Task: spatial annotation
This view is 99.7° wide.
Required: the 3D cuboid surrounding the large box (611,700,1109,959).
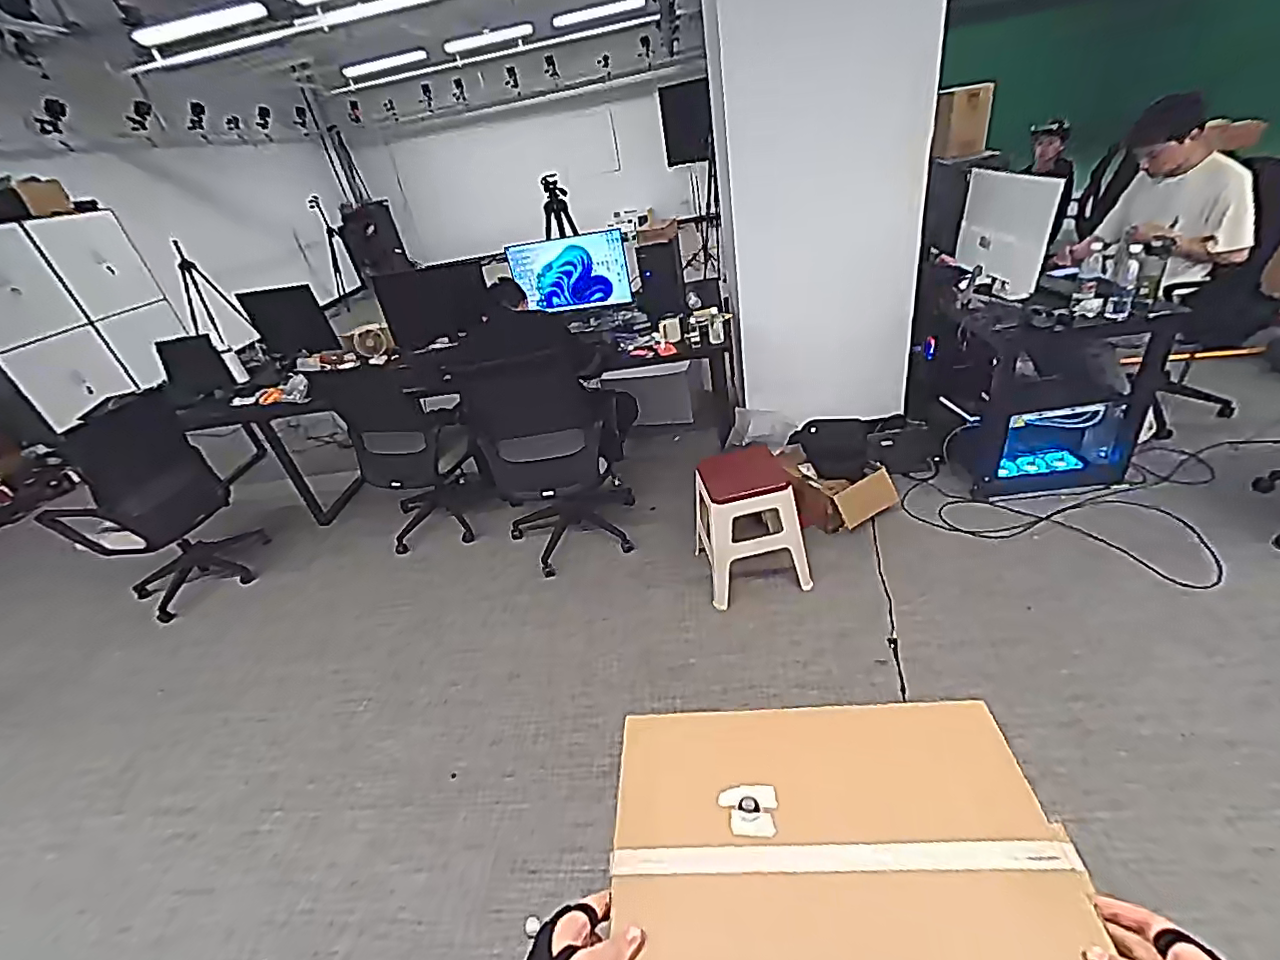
[{"bbox_3d":[0.202,0.479,0.586,0.408,0.320,0.320,-7,32,9],"label":"large box"}]
